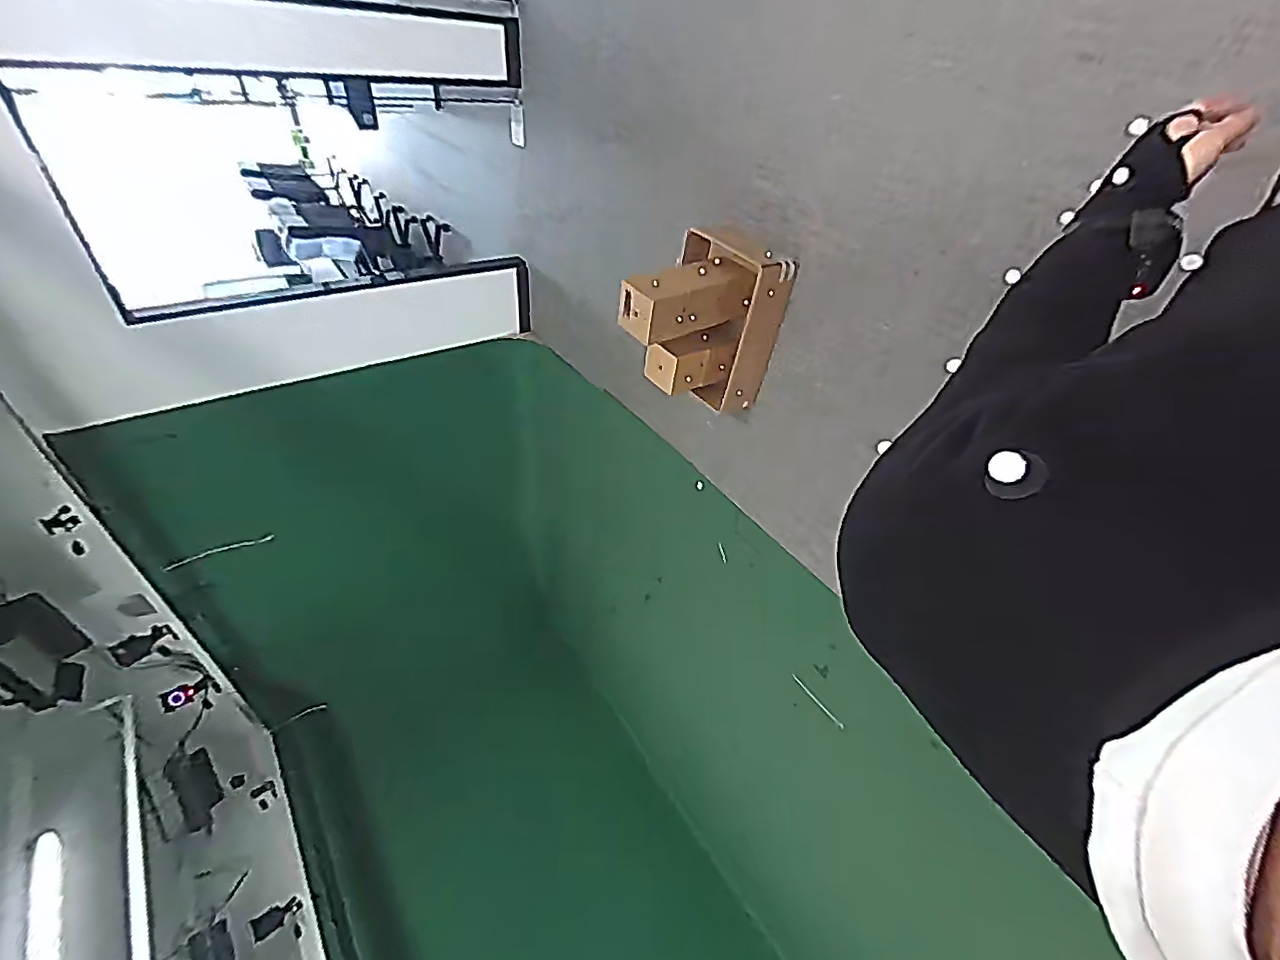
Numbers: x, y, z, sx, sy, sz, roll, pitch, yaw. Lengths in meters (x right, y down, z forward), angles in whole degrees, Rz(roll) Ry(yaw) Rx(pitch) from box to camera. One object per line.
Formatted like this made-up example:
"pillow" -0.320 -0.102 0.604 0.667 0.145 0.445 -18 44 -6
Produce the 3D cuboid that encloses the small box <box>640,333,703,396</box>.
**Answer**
"small box" 0.125 -0.457 2.115 0.179 0.176 0.168 45 142 34

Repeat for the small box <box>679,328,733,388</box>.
"small box" 0.252 -0.505 2.203 0.179 0.176 0.168 45 141 33

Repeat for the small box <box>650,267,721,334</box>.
"small box" 0.161 -0.650 1.938 0.179 0.176 0.168 45 145 33
